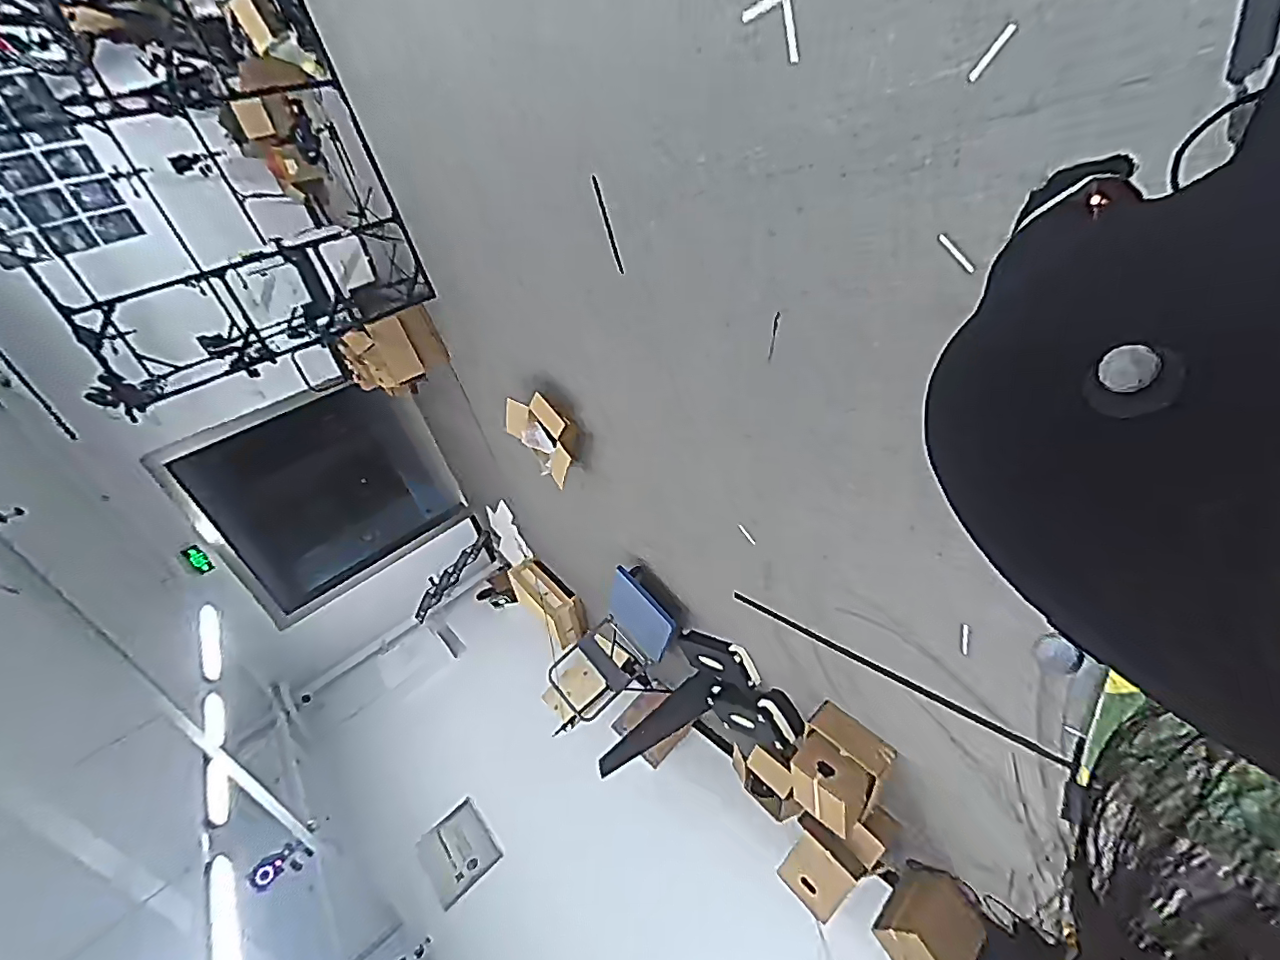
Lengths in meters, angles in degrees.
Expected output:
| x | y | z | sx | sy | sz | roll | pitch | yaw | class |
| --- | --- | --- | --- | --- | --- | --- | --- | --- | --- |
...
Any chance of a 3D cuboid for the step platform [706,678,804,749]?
| x | y | z | sx | sy | sz | roll | pitch | yaw | class |
| --- | --- | --- | --- | --- | --- | --- | --- | --- | --- |
| 0.712 | 1.485 | 3.459 | 0.286 | 0.204 | 0.684 | 58 | 152 | -4 | step platform |
